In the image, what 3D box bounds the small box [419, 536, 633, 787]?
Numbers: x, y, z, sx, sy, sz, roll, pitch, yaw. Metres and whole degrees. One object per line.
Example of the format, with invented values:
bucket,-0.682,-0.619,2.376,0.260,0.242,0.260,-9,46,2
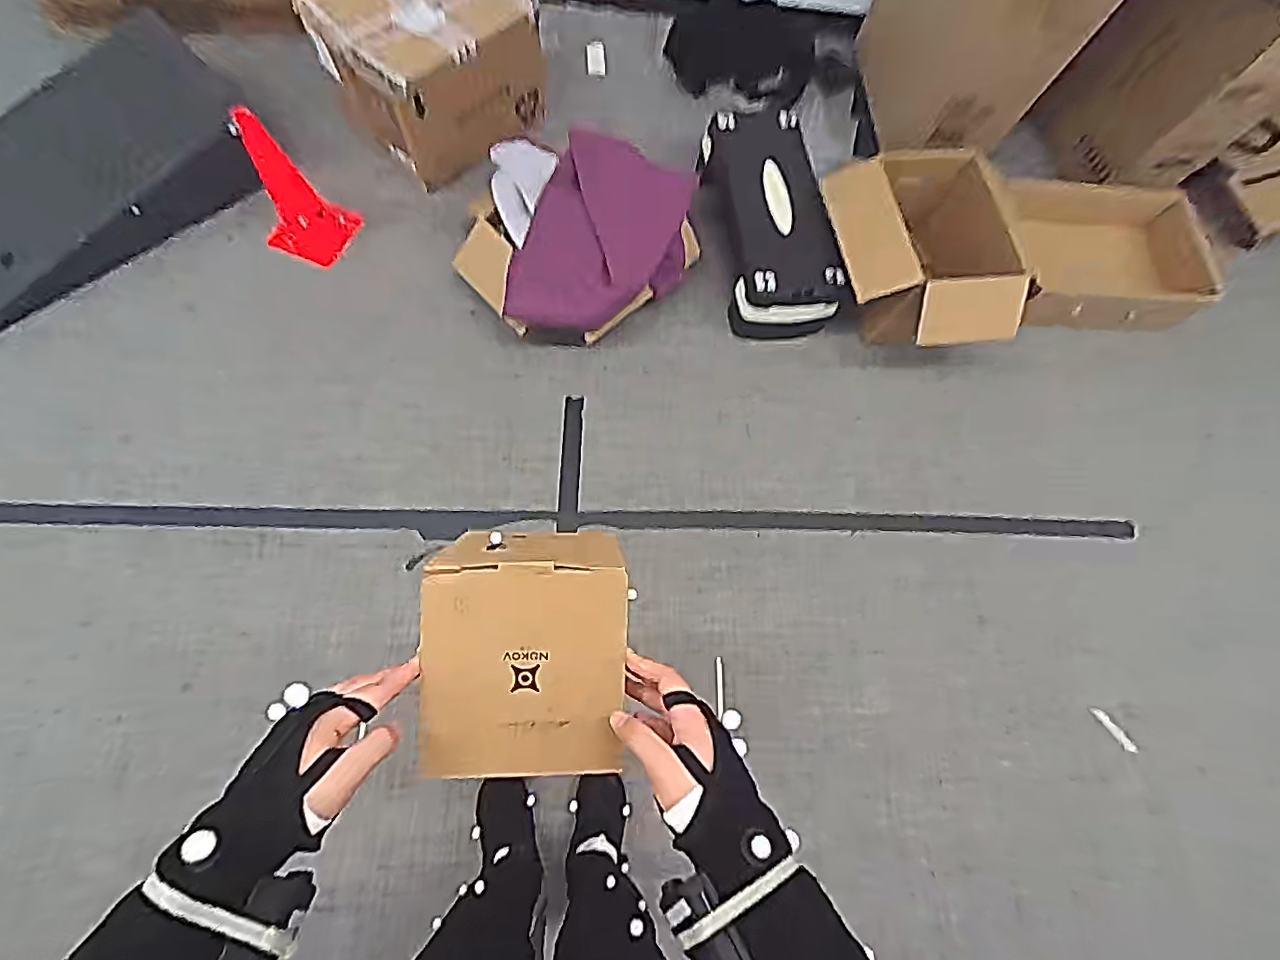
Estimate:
small box,-0.096,0.148,0.502,0.168,0.176,0.179,0,95,-5
